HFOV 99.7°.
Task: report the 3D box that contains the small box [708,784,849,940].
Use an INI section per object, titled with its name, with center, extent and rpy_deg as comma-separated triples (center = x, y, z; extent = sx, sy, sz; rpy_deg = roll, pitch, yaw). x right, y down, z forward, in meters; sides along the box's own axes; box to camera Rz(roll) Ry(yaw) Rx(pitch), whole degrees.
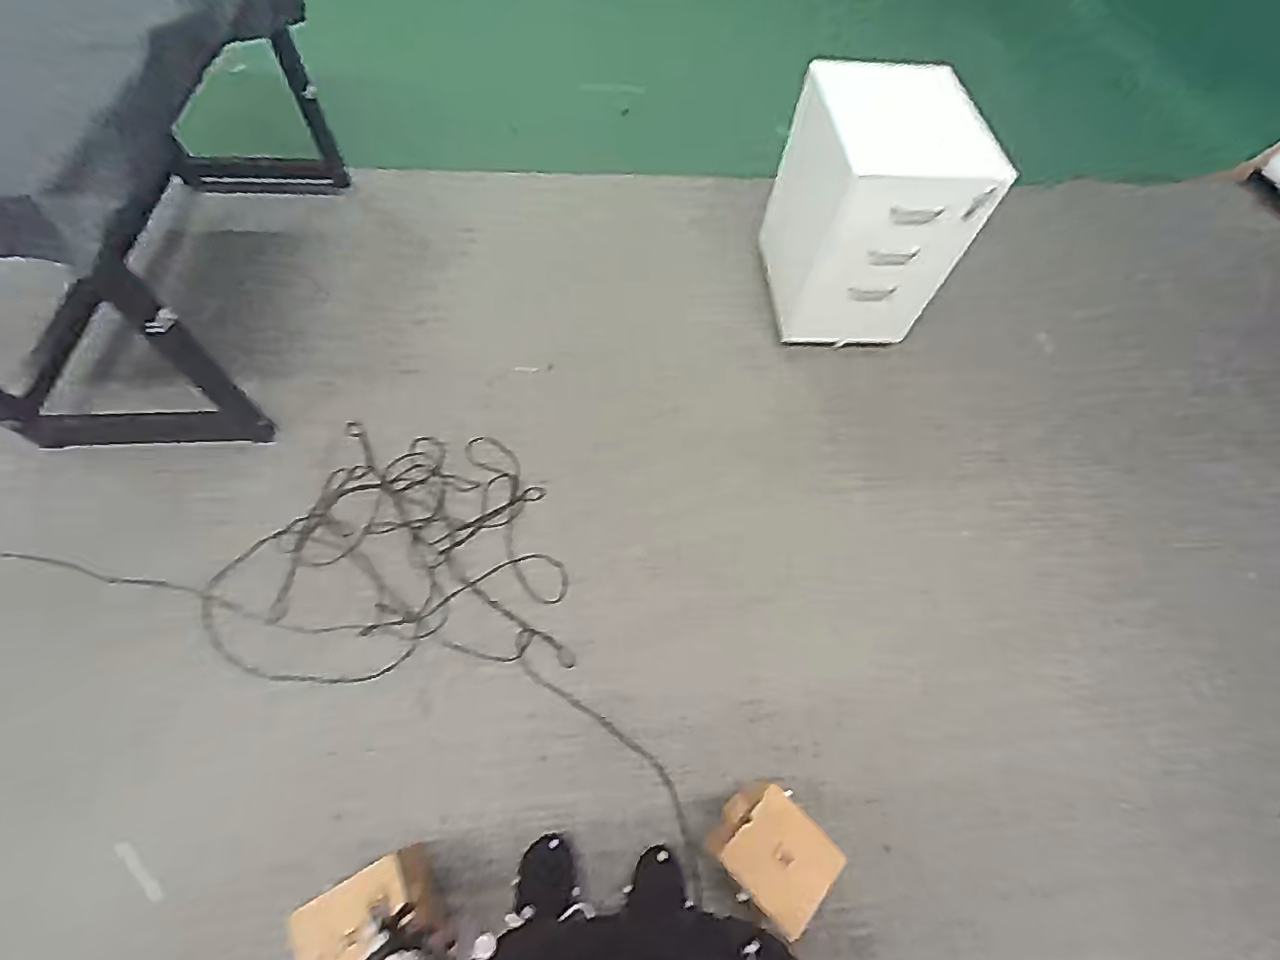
[small box]
center = 0.255, 0.712, 1.036
extent = 0.179, 0.176, 0.168
rpy_deg = 42, 66, 17
